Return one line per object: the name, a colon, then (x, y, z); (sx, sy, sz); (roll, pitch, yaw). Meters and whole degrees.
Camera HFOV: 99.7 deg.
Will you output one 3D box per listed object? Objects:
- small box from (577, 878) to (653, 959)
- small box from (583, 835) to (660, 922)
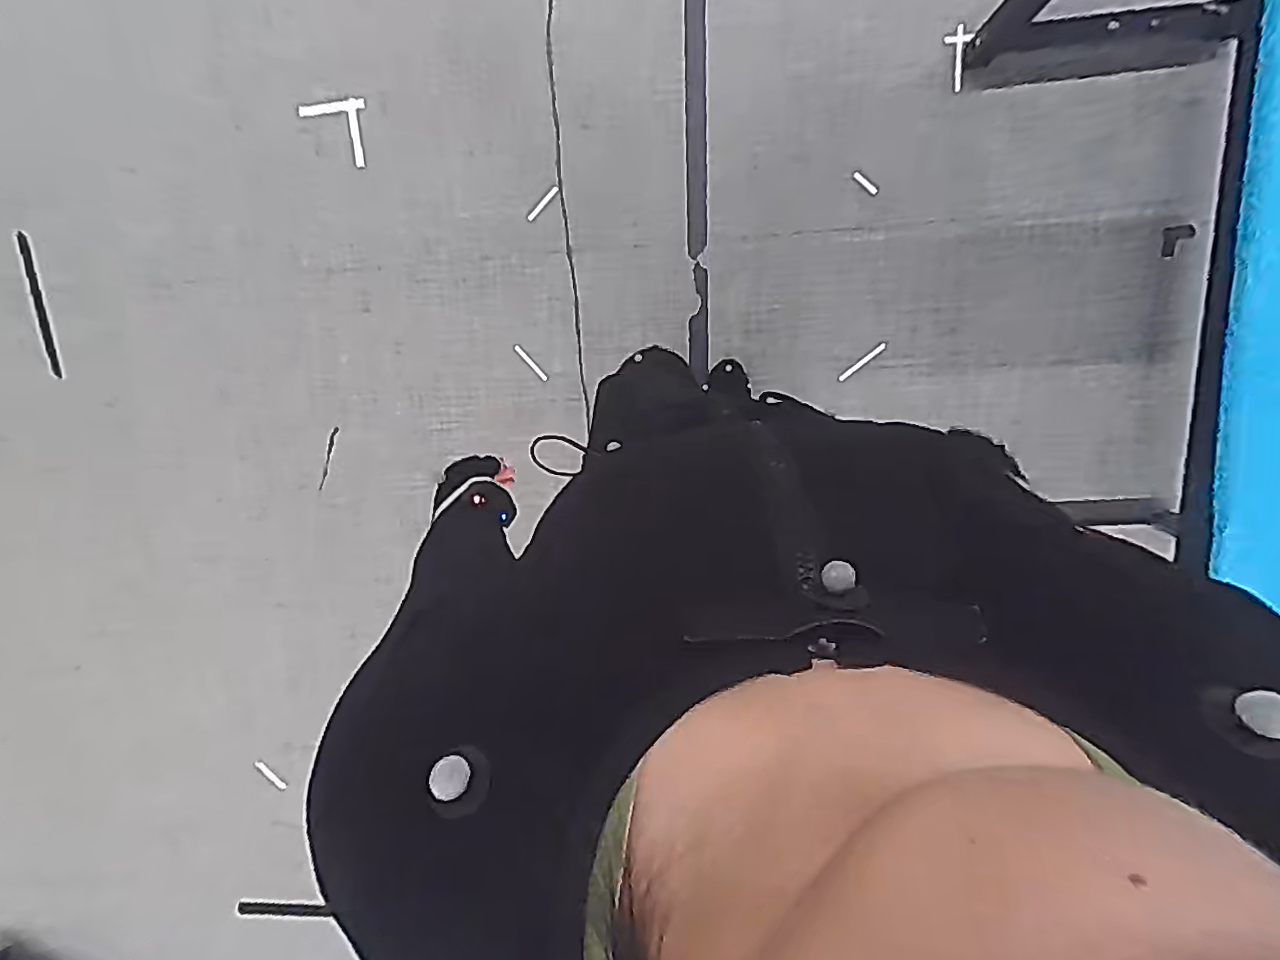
small box: (-0.069, 1.261, 1.497); (0.168, 0.176, 0.179); (22, 102, 2)
small box: (-0.051, 1.241, 1.659); (0.179, 0.176, 0.168); (-32, 96, 9)
